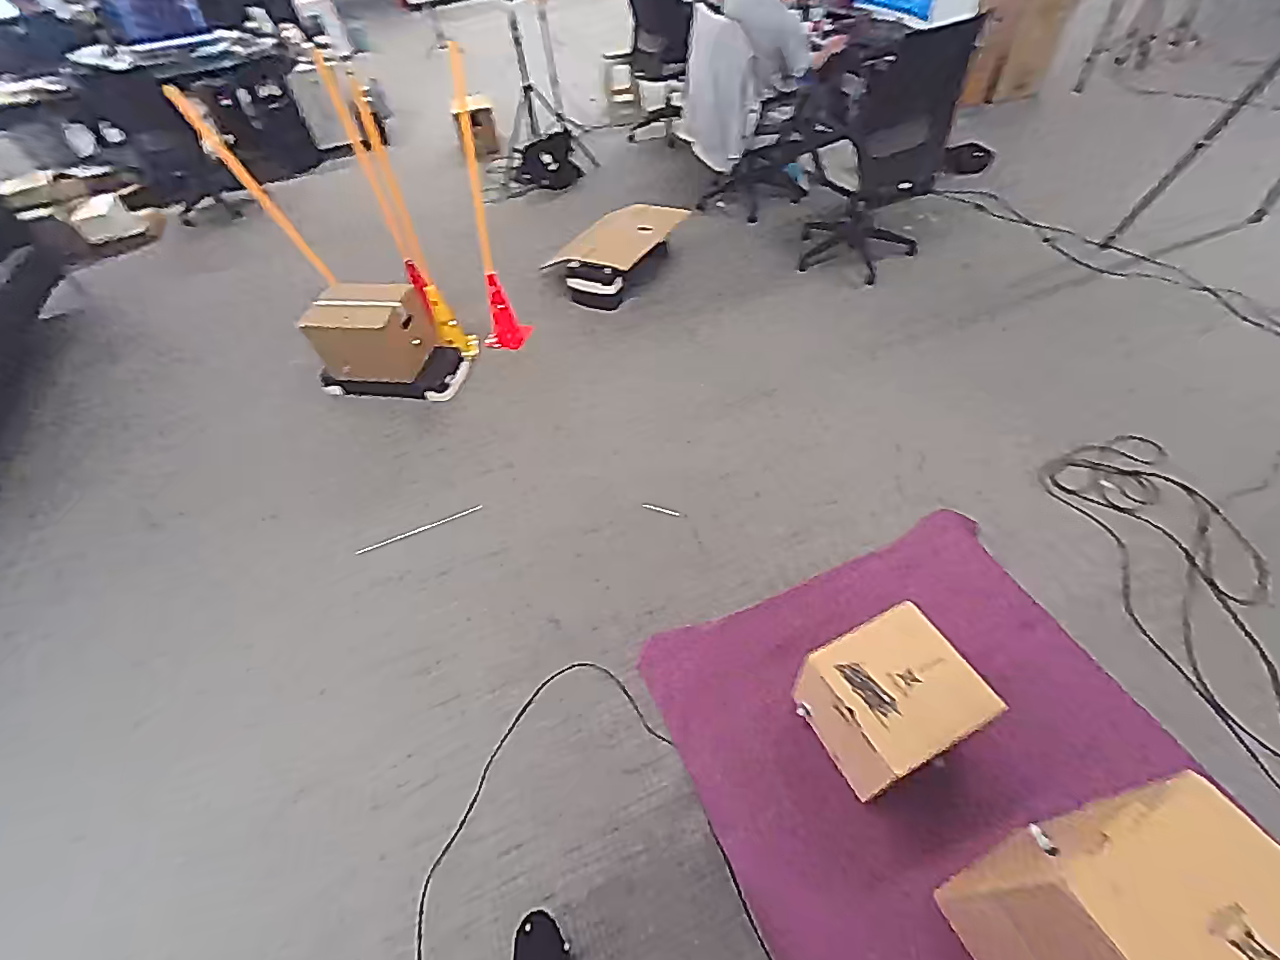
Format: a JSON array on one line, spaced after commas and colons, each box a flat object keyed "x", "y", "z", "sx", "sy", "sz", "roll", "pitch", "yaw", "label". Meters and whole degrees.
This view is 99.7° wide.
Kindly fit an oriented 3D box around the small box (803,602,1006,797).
[{"x": 0.344, "y": 0.307, "z": 0.748, "sx": 0.179, "sy": 0.176, "sz": 0.168, "roll": -22, "pitch": 52, "yaw": -13, "label": "small box"}]

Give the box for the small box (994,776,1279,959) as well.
[{"x": 0.450, "y": 0.391, "z": 0.454, "sx": 0.168, "sy": 0.176, "sz": 0.179, "roll": -24, "pitch": 51, "yaw": -11, "label": "small box"}]

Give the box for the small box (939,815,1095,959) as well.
[{"x": 0.467, "y": 0.497, "z": 0.578, "sx": 0.168, "sy": 0.176, "sz": 0.179, "roll": -23, "pitch": 52, "yaw": -12, "label": "small box"}]
